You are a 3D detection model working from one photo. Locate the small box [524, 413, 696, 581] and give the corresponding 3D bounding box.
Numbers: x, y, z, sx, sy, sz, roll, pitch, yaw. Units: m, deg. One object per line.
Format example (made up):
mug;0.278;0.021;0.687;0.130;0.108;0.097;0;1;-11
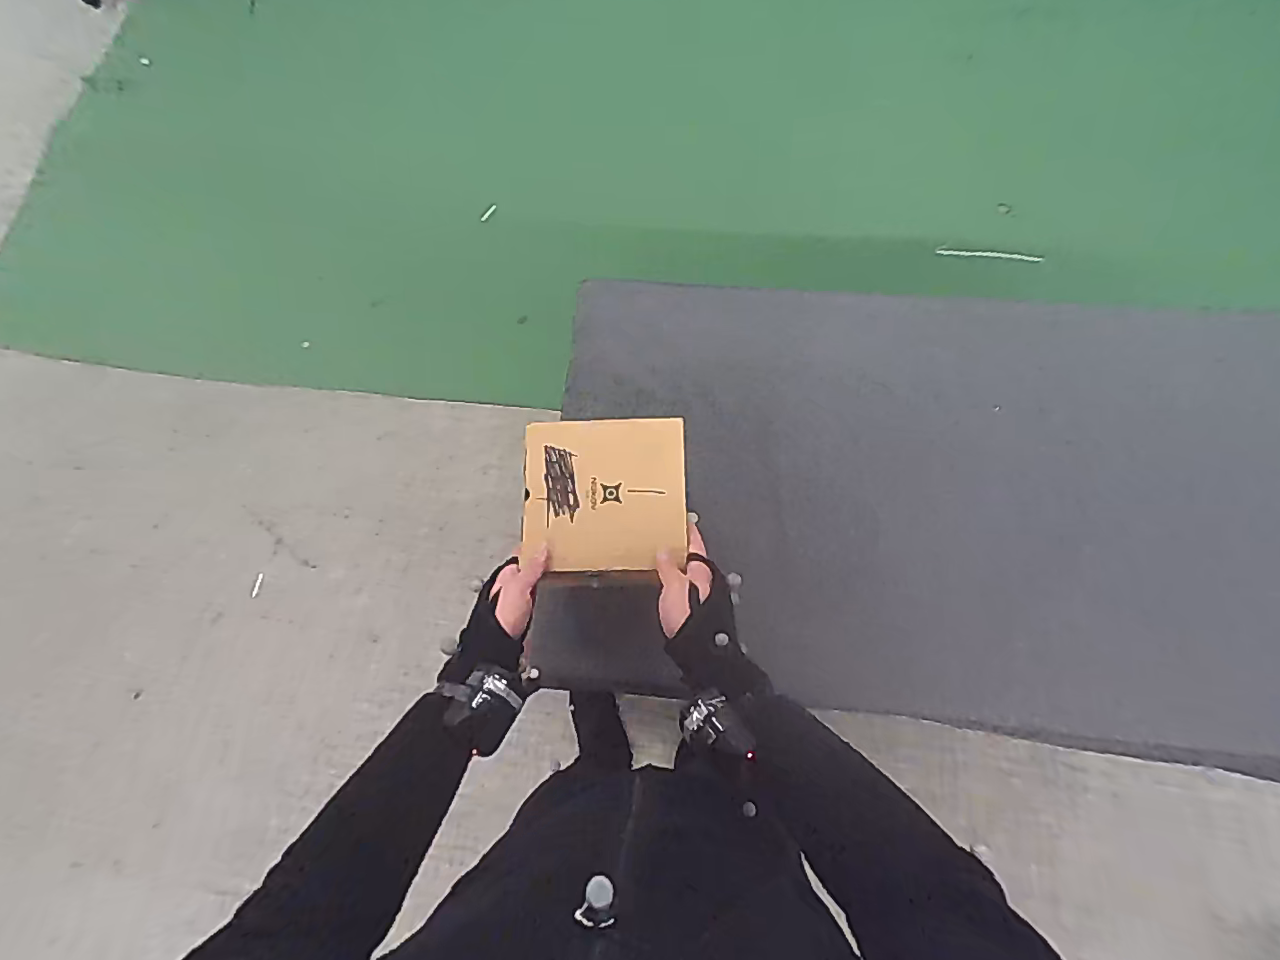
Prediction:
small box;-0.026;0.029;0.637;0.179;0.176;0.168;0;75;1
